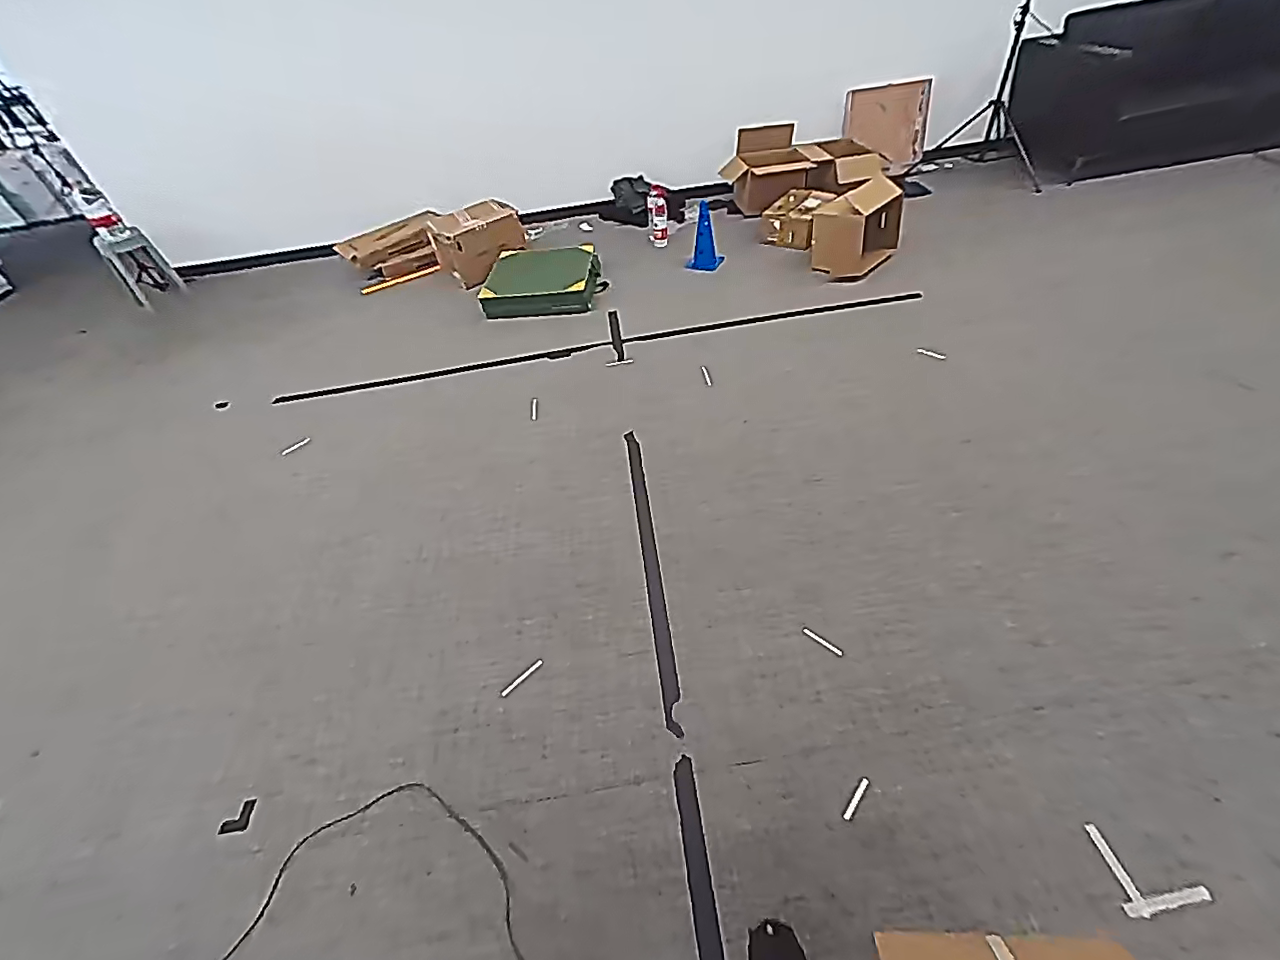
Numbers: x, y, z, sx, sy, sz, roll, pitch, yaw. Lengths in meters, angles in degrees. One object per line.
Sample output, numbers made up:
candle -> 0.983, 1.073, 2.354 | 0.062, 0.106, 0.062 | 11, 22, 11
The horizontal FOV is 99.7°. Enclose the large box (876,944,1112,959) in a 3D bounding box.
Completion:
large box -> 0.456, 0.773, 0.526 | 0.320, 0.408, 0.320 | -5, 85, 9
